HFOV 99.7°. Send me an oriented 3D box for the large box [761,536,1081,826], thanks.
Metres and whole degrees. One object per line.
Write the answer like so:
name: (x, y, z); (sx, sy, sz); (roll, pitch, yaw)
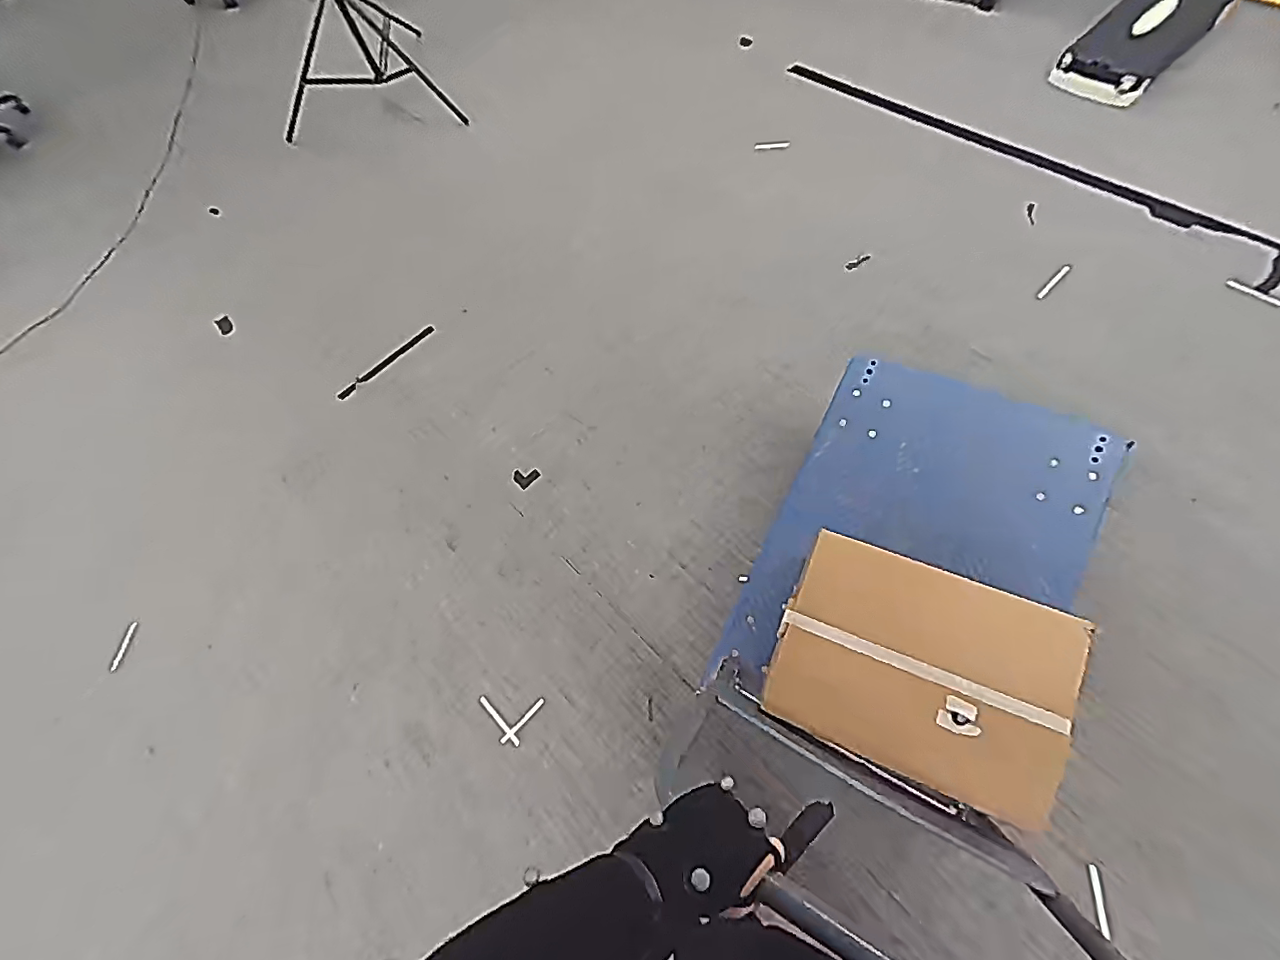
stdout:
large box: (0.459, 0.330, 0.981); (0.408, 0.320, 0.320); (19, 80, 17)
